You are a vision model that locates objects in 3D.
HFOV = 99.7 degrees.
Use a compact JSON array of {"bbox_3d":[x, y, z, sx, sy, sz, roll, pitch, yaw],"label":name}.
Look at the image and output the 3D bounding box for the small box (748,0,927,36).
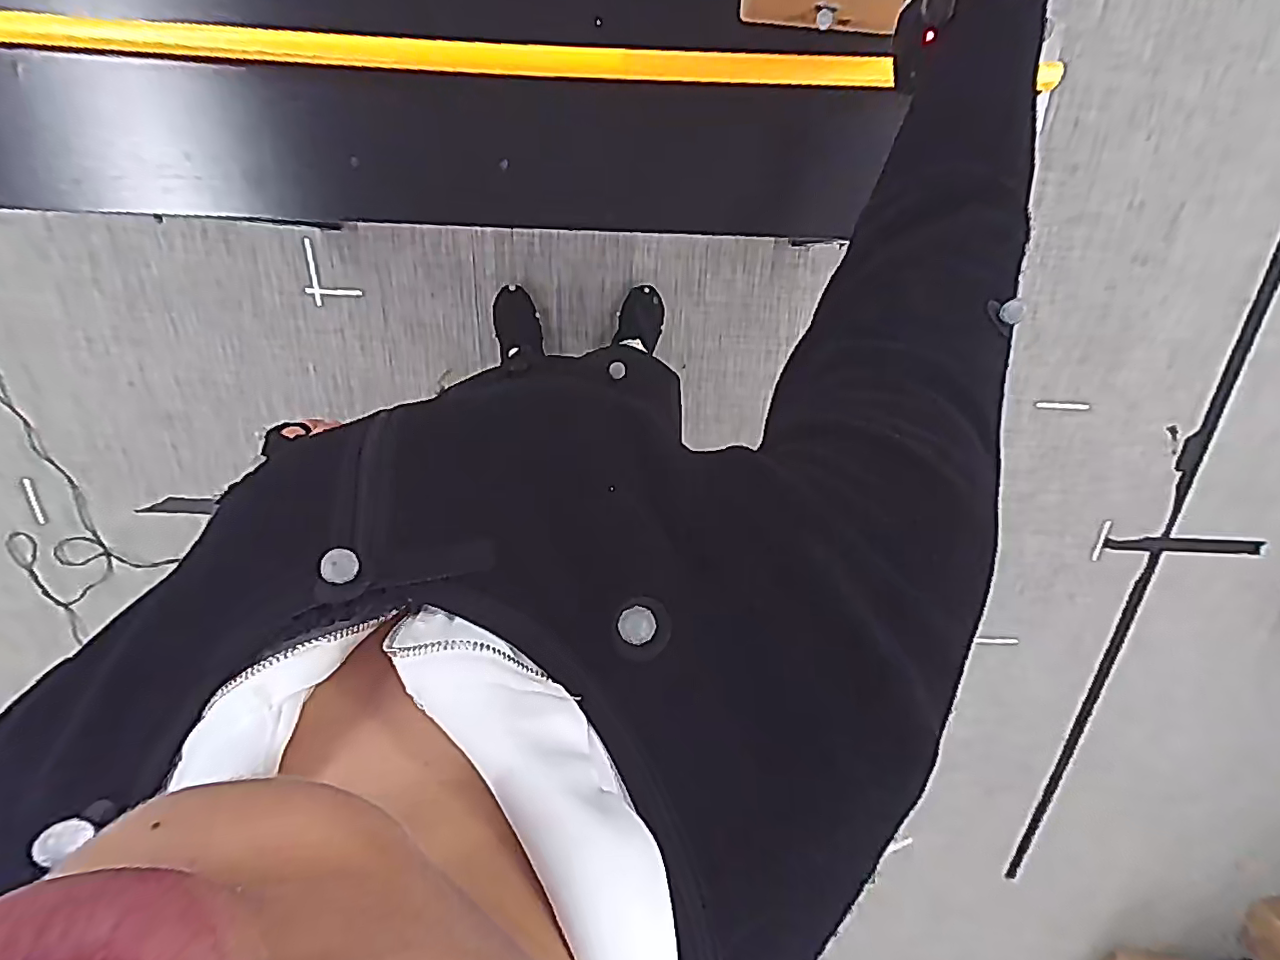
[{"bbox_3d":[0.197,-0.533,0.469,0.168,0.176,0.179,4,112,-3],"label":"small box"}]
